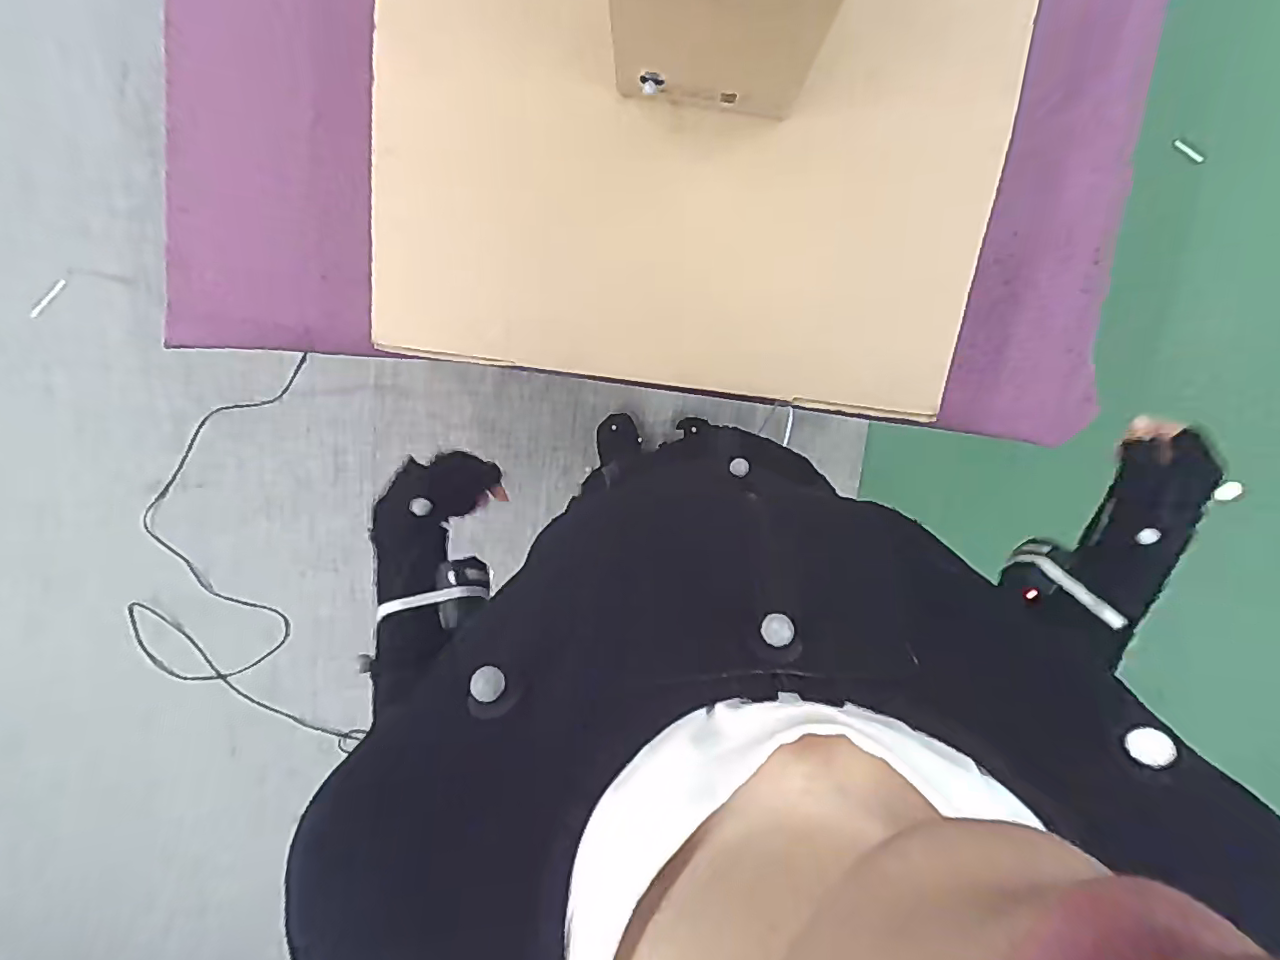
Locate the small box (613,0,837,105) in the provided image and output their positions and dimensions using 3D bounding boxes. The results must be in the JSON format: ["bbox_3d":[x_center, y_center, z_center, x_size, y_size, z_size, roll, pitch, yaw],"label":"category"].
[{"bbox_3d":[0.069,-0.427,0.417,0.168,0.176,0.179,5,98,0],"label":"small box"}]
